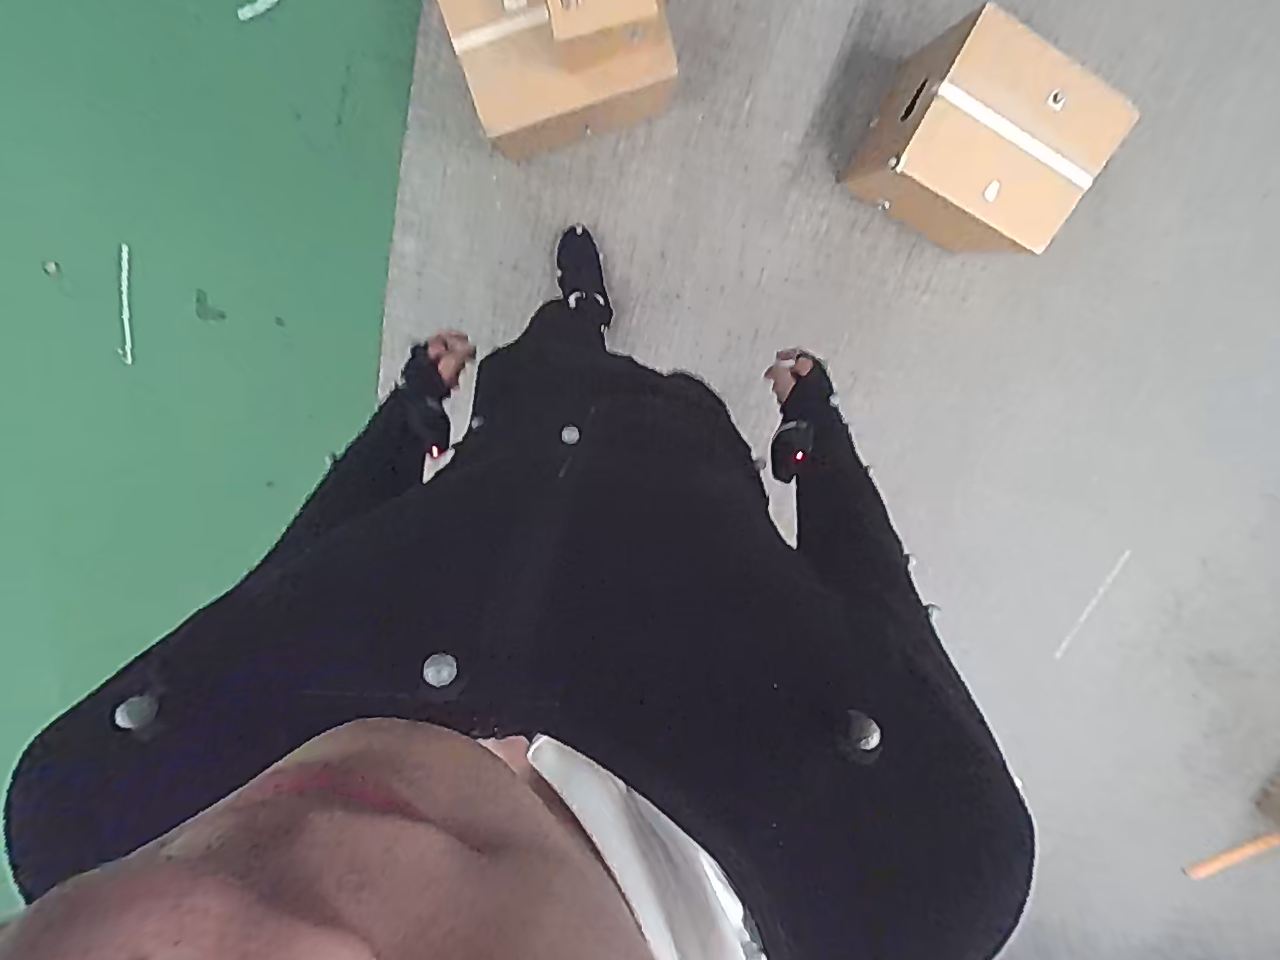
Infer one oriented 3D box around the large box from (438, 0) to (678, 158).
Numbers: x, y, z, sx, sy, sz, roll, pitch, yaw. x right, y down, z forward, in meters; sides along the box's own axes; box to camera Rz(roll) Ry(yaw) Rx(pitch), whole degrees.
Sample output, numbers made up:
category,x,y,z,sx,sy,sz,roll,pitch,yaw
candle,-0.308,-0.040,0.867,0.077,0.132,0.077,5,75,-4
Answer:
category,x,y,z,sx,sy,sz,roll,pitch,yaw
large box,-0.161,-0.930,1.136,0.408,0.320,0.320,-16,112,5
